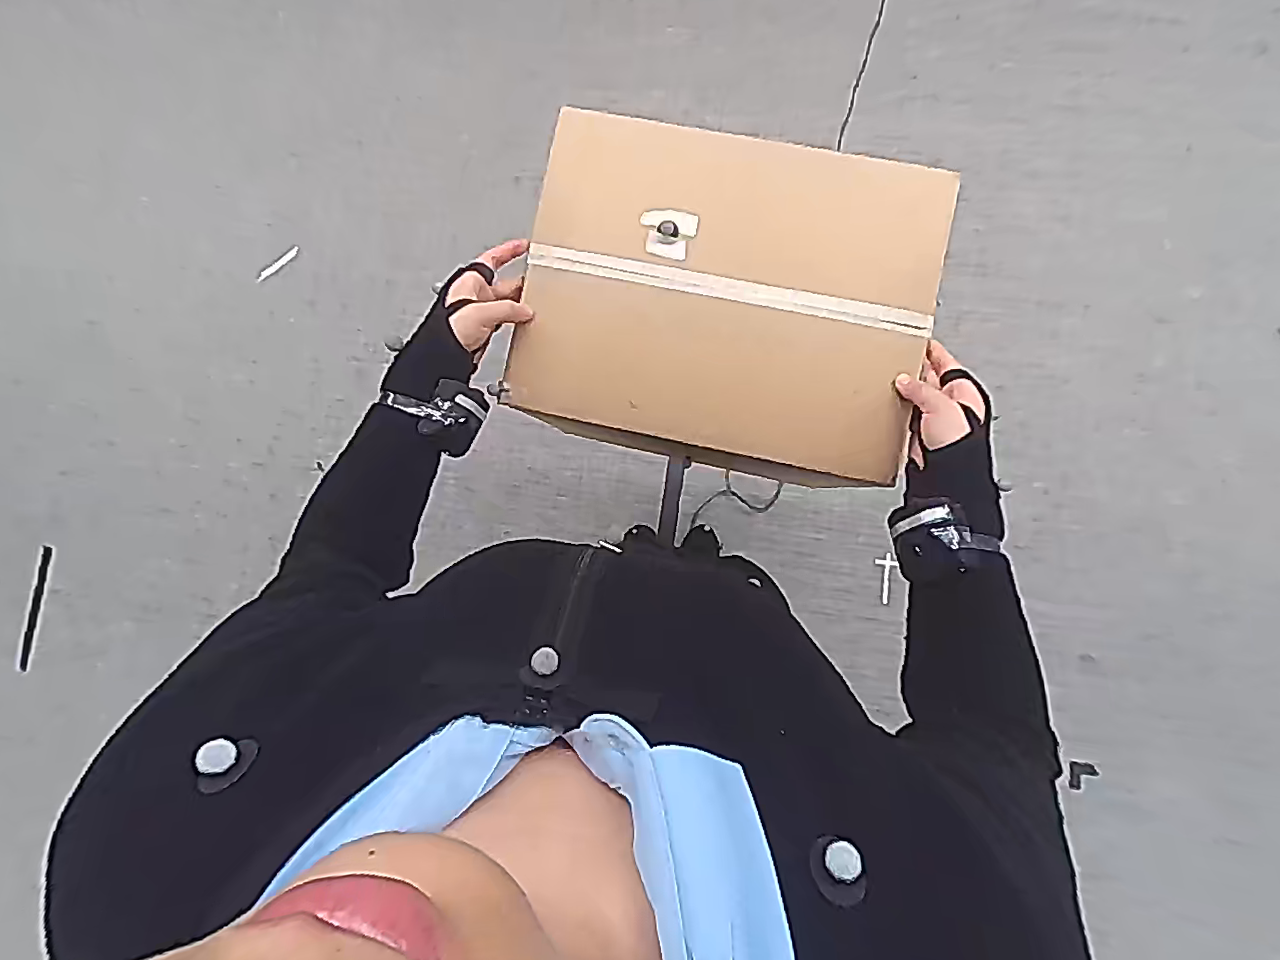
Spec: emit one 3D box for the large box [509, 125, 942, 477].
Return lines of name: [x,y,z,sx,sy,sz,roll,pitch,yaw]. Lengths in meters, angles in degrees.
large box: [0.095,-0.188,0.702,0.408,0.320,0.320,11,88,5]
